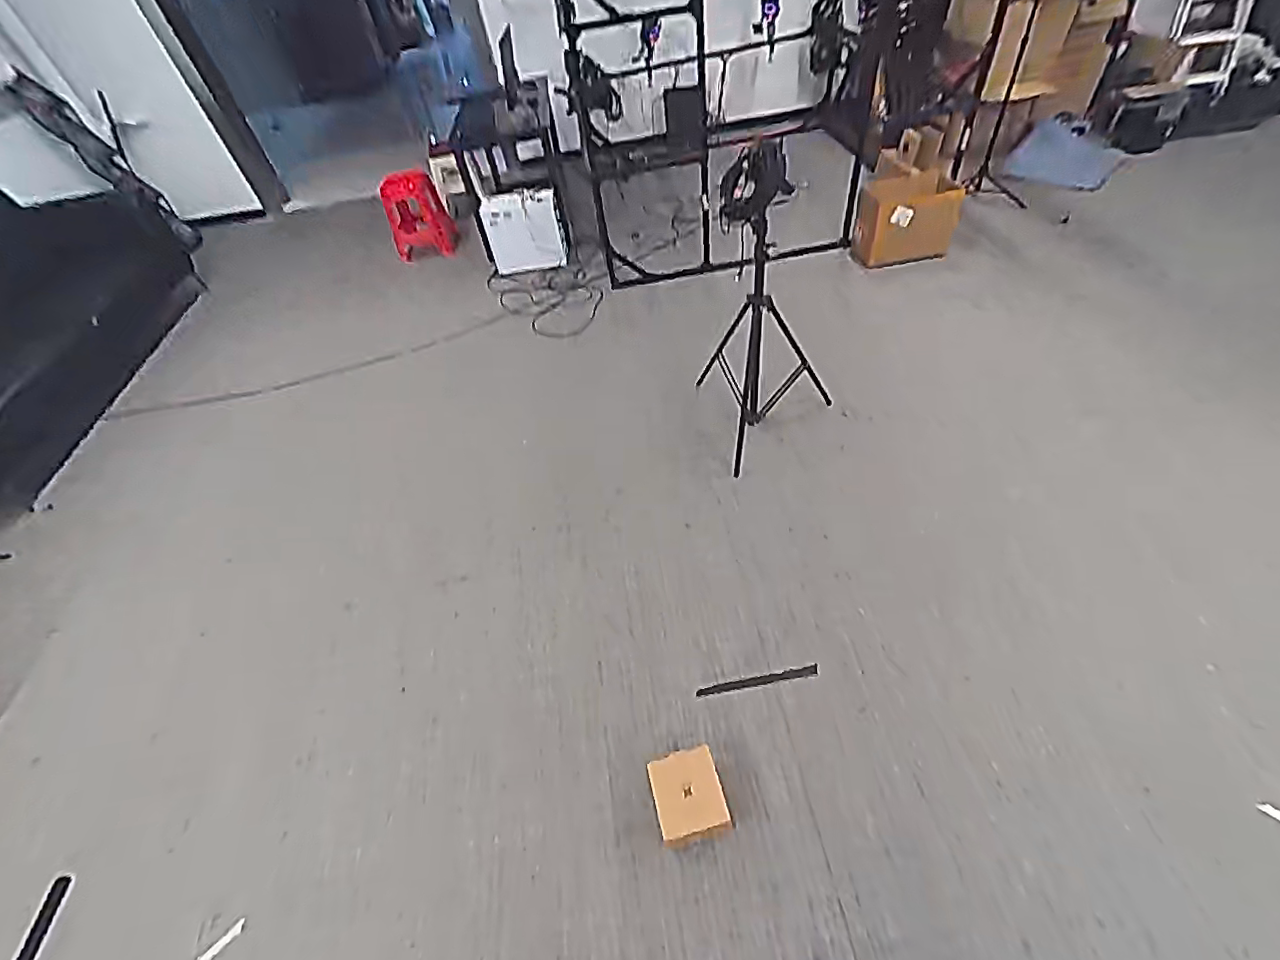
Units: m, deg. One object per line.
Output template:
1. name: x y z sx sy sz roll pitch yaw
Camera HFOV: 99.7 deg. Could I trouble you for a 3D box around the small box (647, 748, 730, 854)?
1. small box: 0.122 0.813 1.367 0.168 0.176 0.179 -15 48 -3
